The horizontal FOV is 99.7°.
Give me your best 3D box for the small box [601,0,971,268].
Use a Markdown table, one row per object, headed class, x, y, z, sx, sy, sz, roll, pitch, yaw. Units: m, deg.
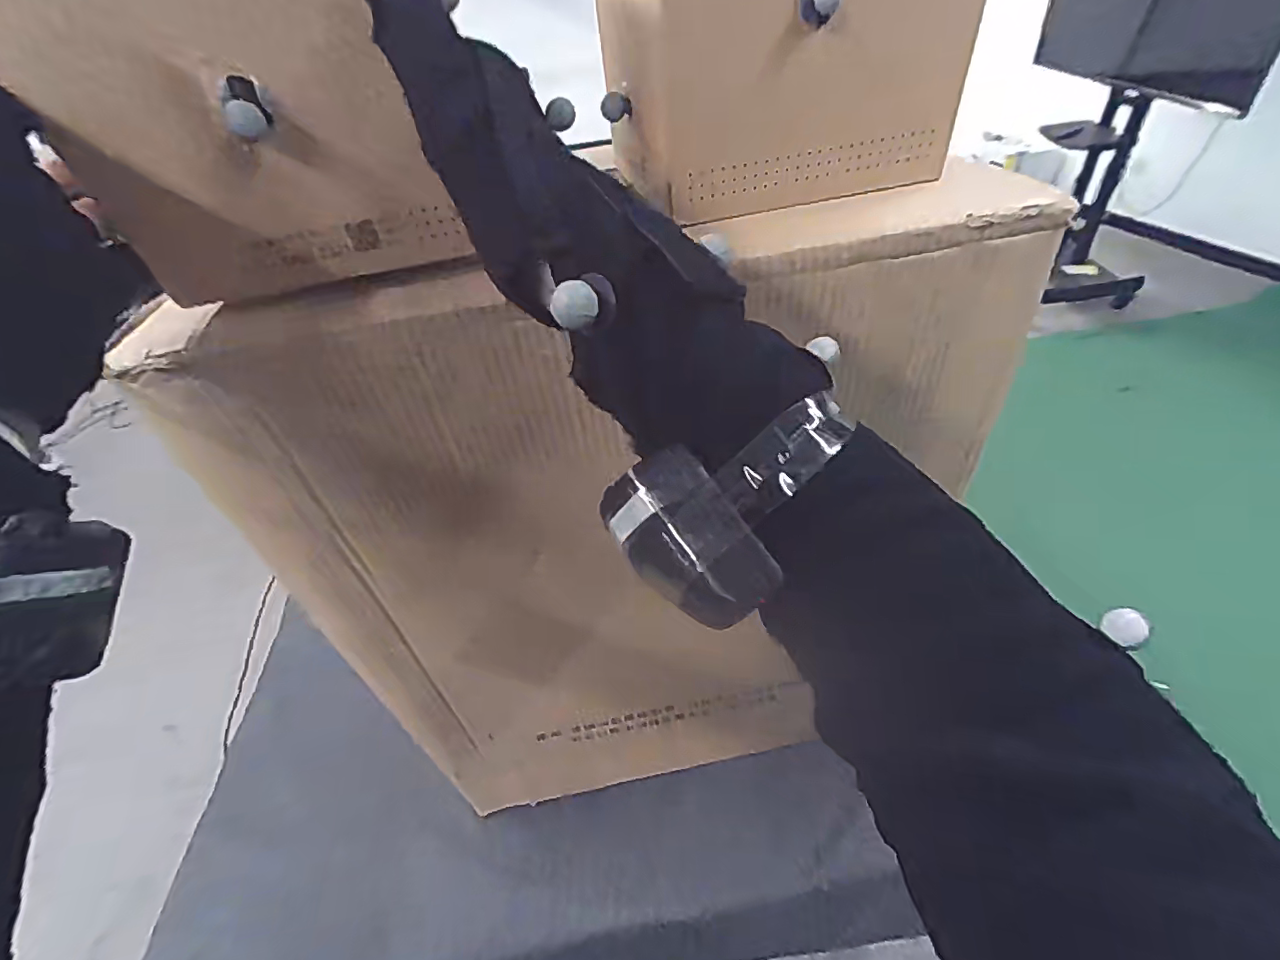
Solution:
| class | x | y | z | sx | sy | sz | roll | pitch | yaw |
| --- | --- | --- | --- | --- | --- | --- | --- | --- | --- |
| small box | 0.075 | -0.257 | 0.346 | 0.179 | 0.176 | 0.168 | -14 | 42 | -6 |
